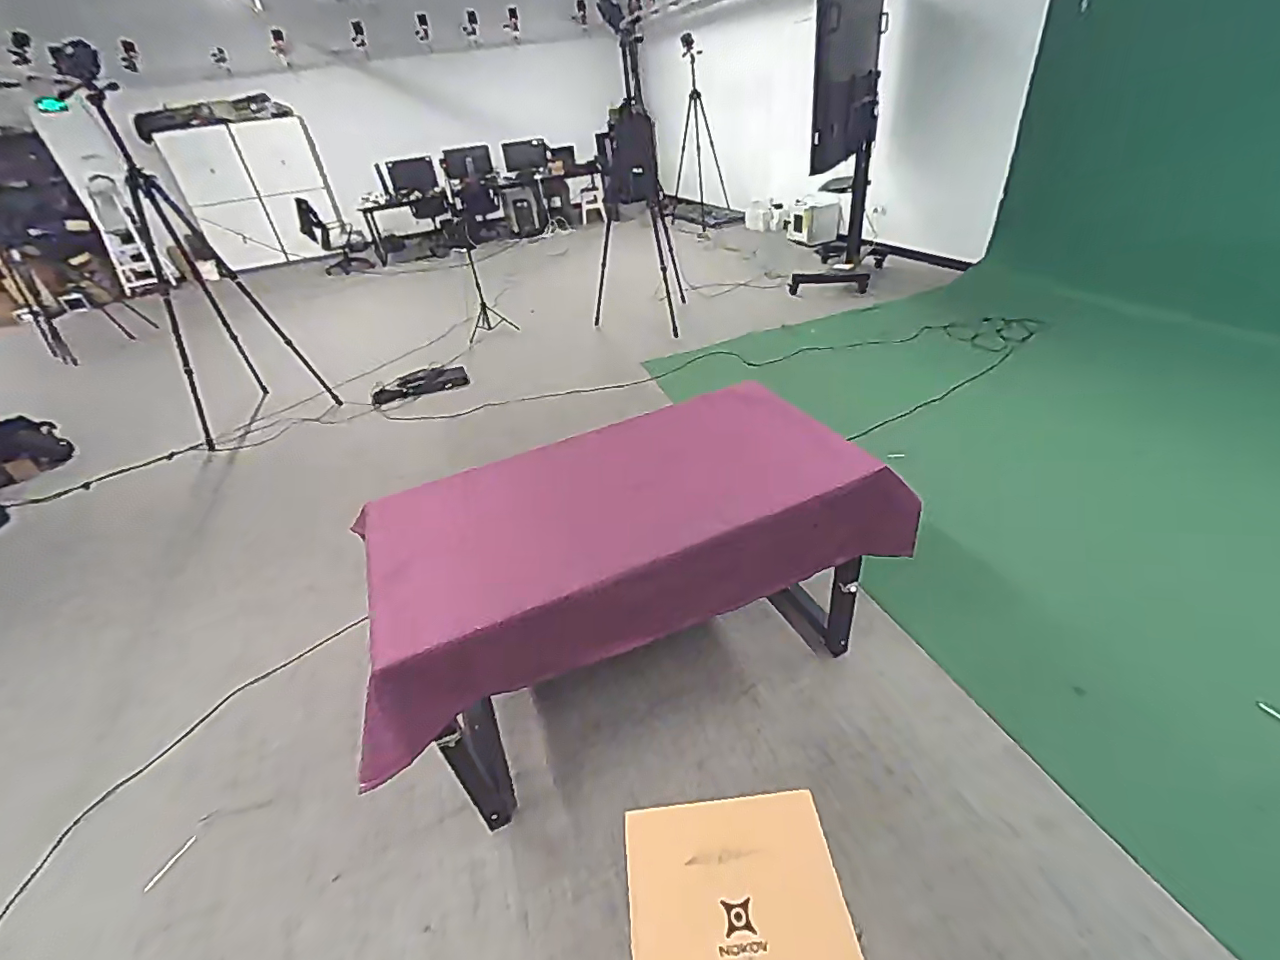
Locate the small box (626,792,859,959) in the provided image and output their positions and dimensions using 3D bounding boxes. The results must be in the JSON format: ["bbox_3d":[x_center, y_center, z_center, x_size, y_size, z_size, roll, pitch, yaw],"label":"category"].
[{"bbox_3d":[0.080,0.396,0.452,0.168,0.176,0.179,-5,36,-1],"label":"small box"}]
